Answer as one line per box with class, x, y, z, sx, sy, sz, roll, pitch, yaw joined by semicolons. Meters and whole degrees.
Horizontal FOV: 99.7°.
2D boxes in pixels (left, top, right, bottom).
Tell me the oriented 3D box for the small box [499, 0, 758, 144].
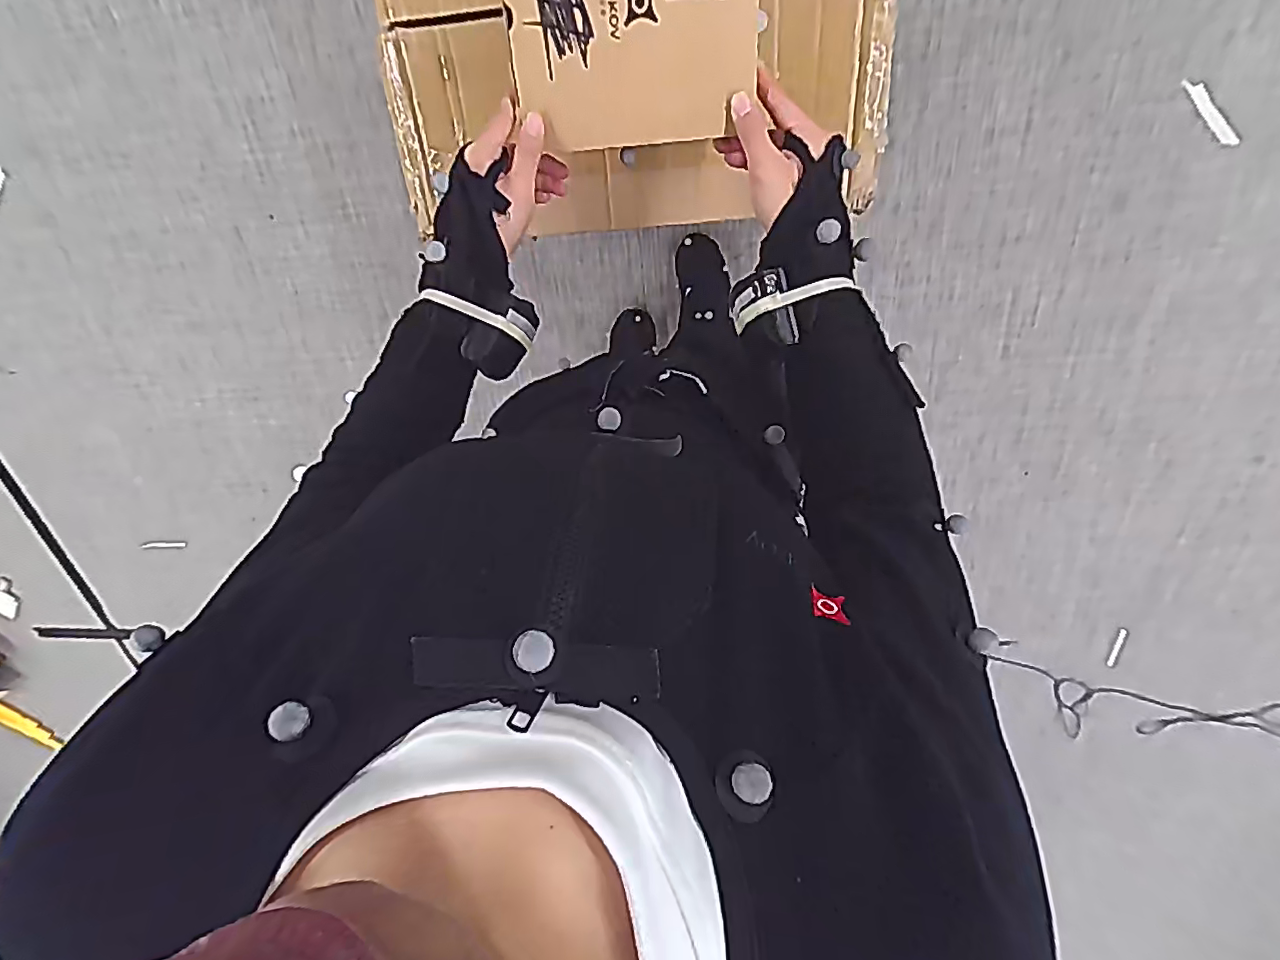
small box;-0.003;-0.365;0.424;0.179;0.176;0.168;-1;124;6
